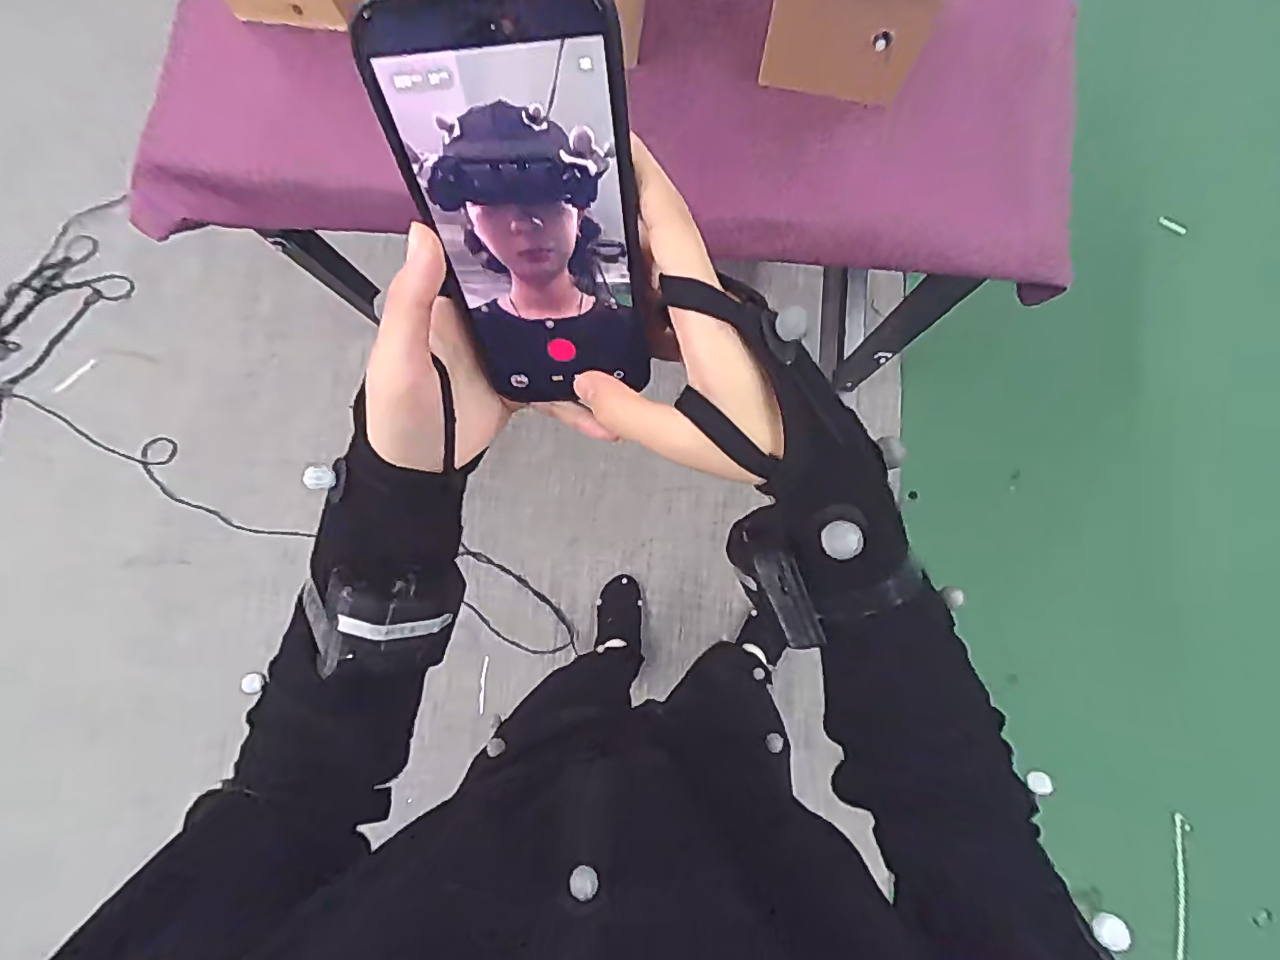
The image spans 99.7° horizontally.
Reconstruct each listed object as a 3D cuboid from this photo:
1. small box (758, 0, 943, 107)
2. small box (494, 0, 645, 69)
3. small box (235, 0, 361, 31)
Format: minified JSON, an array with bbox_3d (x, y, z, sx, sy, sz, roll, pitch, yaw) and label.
[{"bbox_3d":[0.254,-0.585,0.637,0.179,0.176,0.168,14,83,5],"label":"small box"},{"bbox_3d":[-0.081,-0.645,0.656,0.179,0.176,0.168,8,83,3],"label":"small box"},{"bbox_3d":[-0.464,-0.719,0.682,0.168,0.176,0.179,8,83,3],"label":"small box"}]
